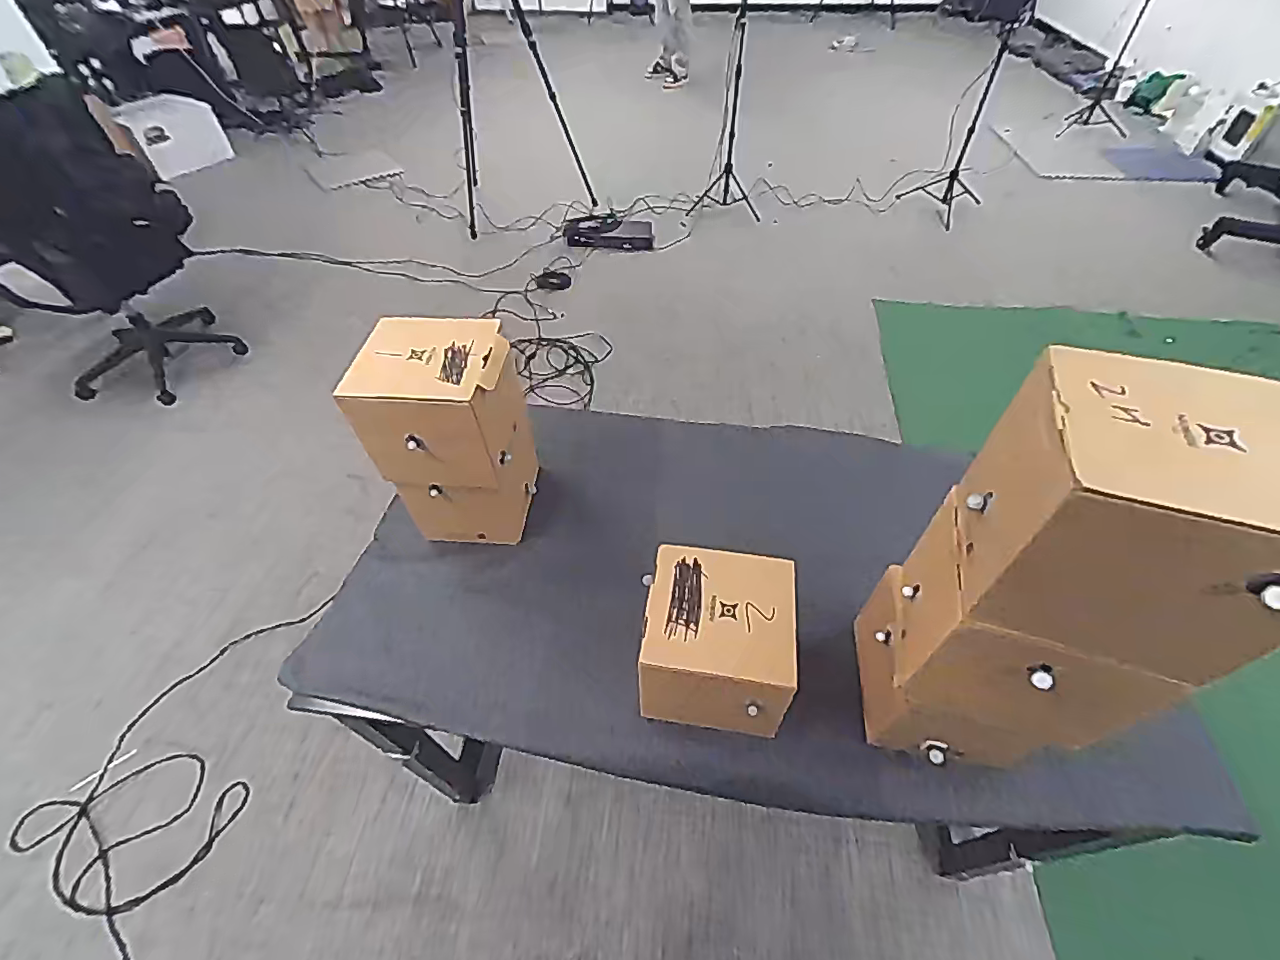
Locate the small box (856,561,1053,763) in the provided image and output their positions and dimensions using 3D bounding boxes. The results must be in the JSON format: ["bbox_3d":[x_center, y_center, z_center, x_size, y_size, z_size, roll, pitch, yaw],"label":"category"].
[{"bbox_3d":[0.381,0.227,0.676,0.168,0.176,0.179,5,49,7],"label":"small box"}]

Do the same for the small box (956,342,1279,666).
[{"bbox_3d":[0.375,0.021,0.422,0.179,0.176,0.168,15,50,15],"label":"small box"}]

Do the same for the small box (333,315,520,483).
[{"bbox_3d":[-0.279,-0.110,0.761,0.179,0.176,0.168,3,51,4],"label":"small box"}]

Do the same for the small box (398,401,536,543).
[{"bbox_3d":[-0.276,-0.017,0.899,0.168,0.176,0.179,3,50,3],"label":"small box"}]

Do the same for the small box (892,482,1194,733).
[{"bbox_3d":[0.376,0.132,0.544,0.179,0.176,0.168,13,50,14],"label":"small box"}]
